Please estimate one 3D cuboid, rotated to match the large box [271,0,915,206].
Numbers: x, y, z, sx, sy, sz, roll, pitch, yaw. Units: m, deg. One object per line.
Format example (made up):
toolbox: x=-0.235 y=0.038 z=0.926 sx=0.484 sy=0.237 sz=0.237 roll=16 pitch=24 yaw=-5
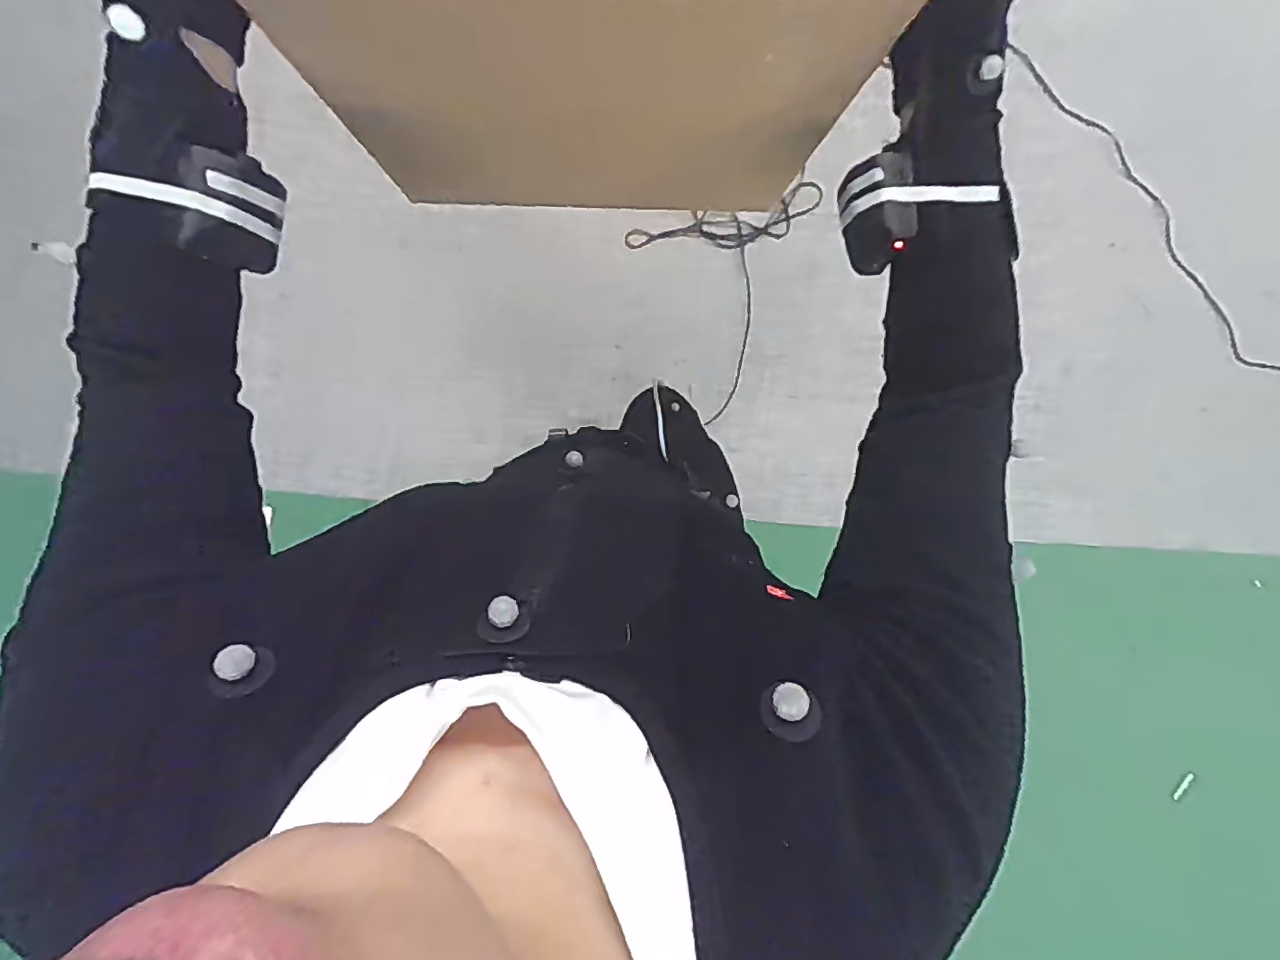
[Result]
large box: x=-0.041 y=-0.448 z=0.448 sx=0.408 sy=0.320 sz=0.320 roll=-1 pitch=95 yaw=-5
